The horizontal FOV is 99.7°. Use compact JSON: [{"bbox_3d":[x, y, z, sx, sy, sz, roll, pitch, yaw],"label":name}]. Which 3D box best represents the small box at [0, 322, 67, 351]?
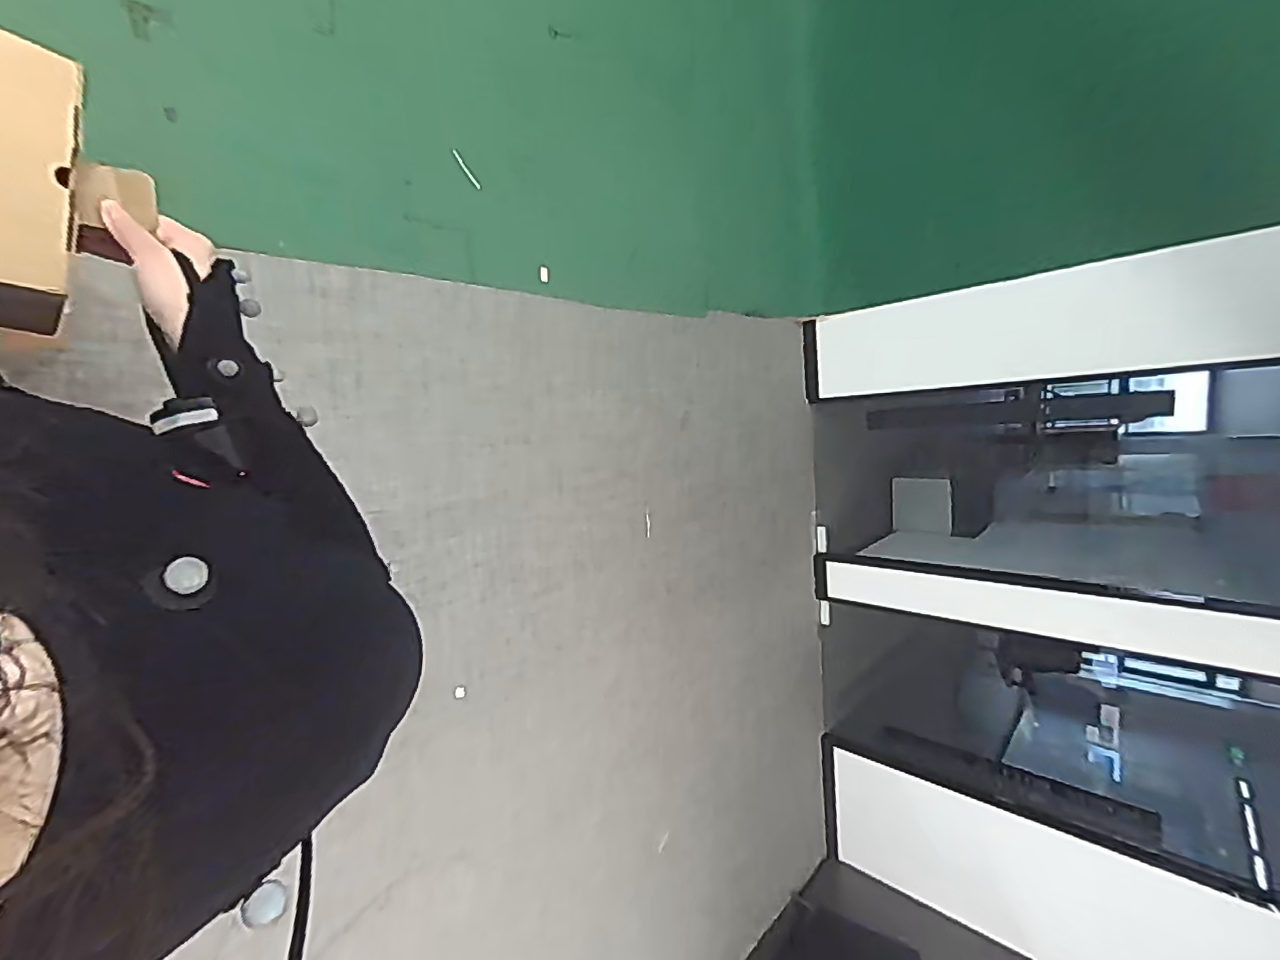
[{"bbox_3d":[-1.121,-0.311,0.918,0.179,0.176,0.168,-20,107,-44],"label":"small box"}]

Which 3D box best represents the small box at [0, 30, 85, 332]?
[{"bbox_3d":[-0.501,-0.206,0.353,0.179,0.176,0.168,4,88,-51],"label":"small box"}]

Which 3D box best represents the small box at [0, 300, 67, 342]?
[{"bbox_3d":[-1.010,-0.294,0.801,0.179,0.176,0.168,-36,119,-39],"label":"small box"}]
